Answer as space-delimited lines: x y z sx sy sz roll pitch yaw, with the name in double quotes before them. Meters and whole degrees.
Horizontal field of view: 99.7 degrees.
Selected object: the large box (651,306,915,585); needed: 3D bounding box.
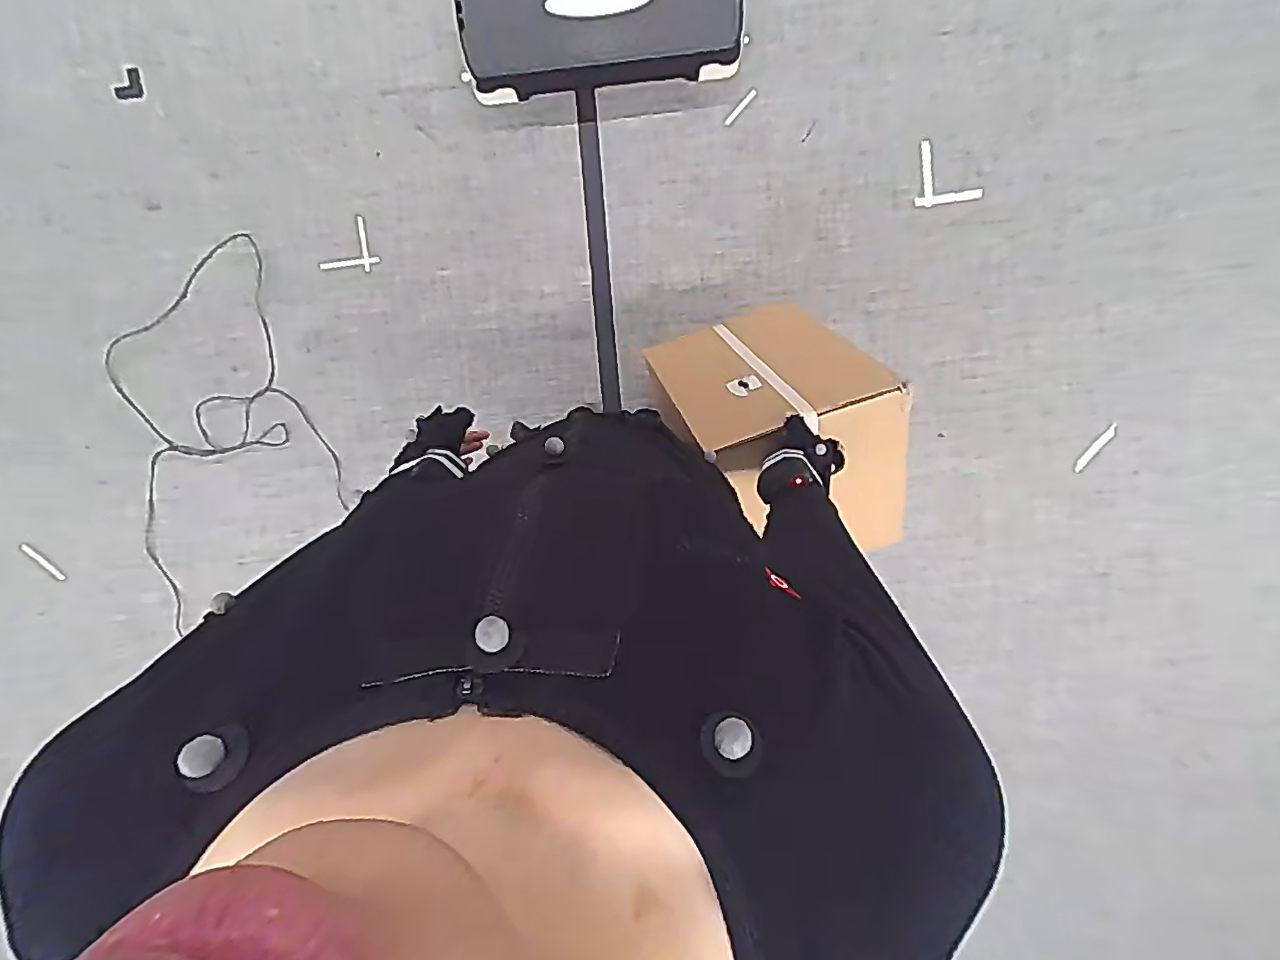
"large box" 0.240 -0.082 1.011 0.320 0.408 0.320 -18 126 -1
